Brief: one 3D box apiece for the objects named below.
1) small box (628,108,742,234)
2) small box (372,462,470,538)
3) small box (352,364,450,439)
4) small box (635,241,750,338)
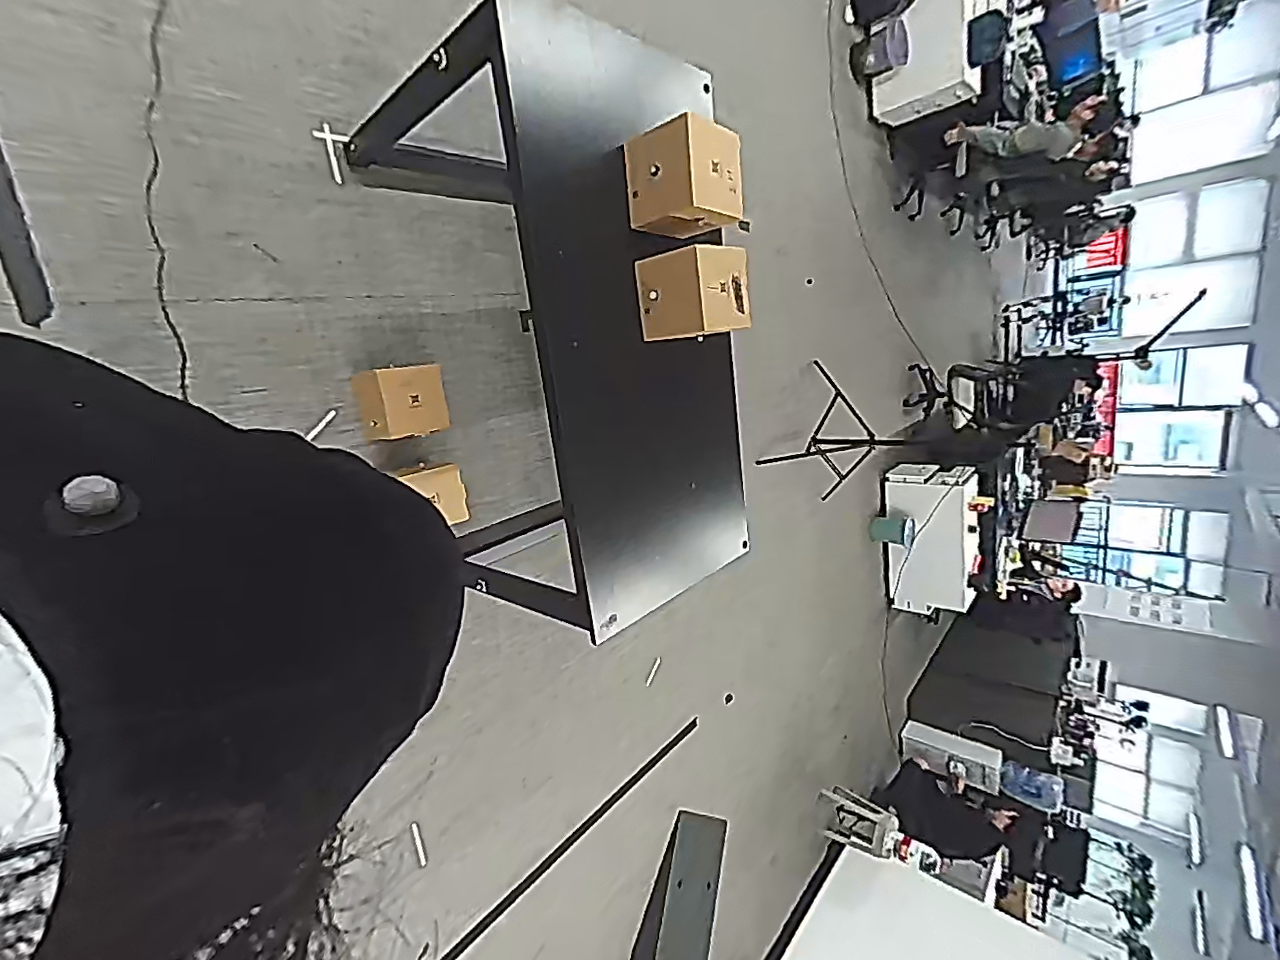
[{"bbox_3d":[0.088,-0.620,1.113,0.179,0.176,0.168,-16,105,-45],"label":"small box"},{"bbox_3d":[-0.603,0.047,1.492,0.179,0.176,0.168,-22,108,-45],"label":"small box"},{"bbox_3d":[-0.637,-0.208,1.440,0.168,0.176,0.179,-21,107,-45],"label":"small box"},{"bbox_3d":[0.113,-0.402,1.156,0.179,0.176,0.168,-21,109,-43],"label":"small box"}]
